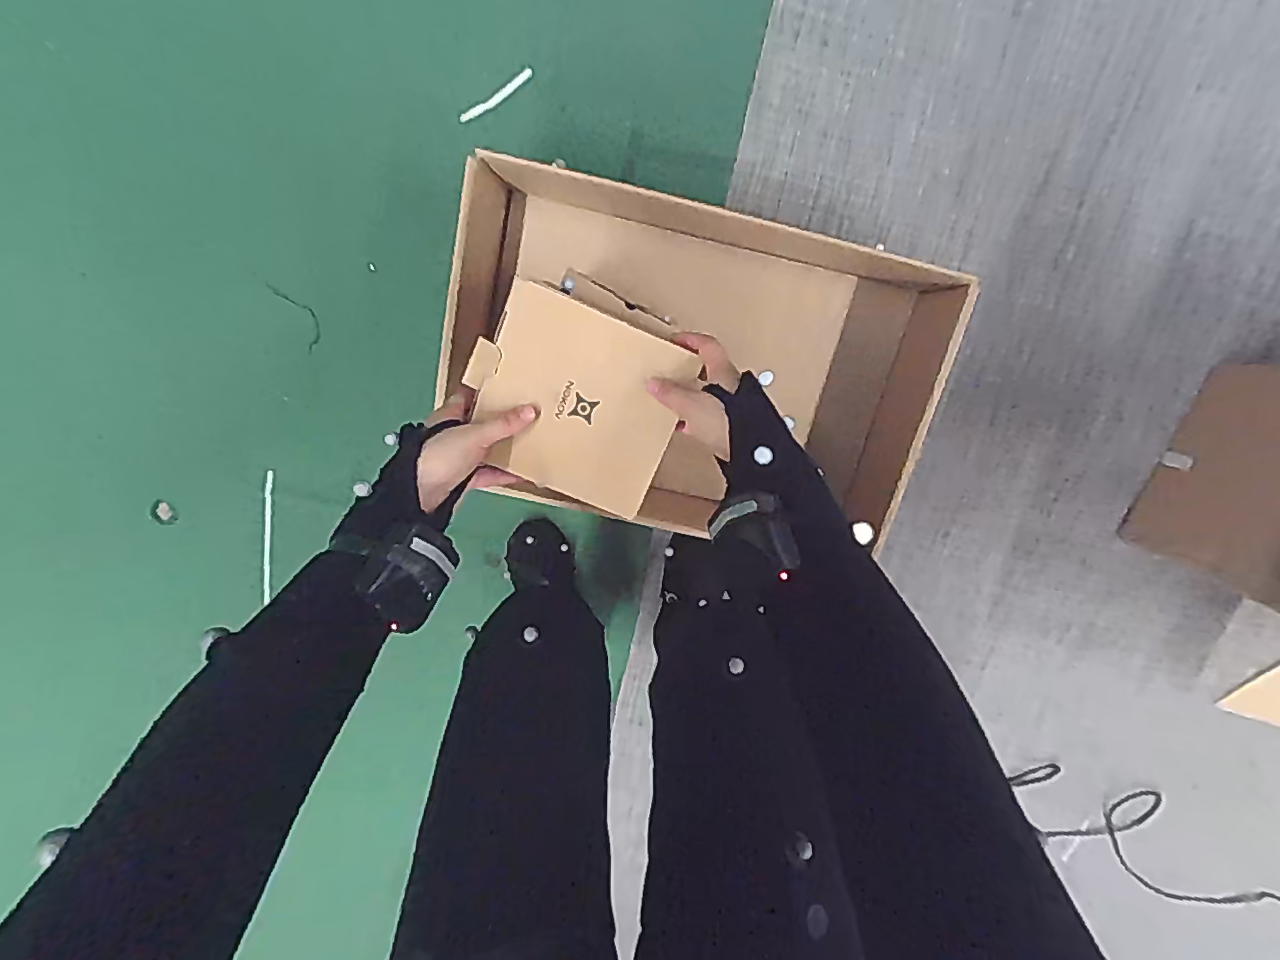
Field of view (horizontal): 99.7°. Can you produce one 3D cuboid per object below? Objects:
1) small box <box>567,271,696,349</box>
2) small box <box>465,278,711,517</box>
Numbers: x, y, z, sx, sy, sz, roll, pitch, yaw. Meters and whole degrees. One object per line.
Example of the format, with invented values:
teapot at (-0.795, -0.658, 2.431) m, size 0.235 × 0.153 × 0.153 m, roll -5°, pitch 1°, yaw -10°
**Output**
small box at (-0.046, -0.153, 0.725) m, size 0.168 × 0.176 × 0.179 m, roll 27°, pitch 104°, yaw -8°
small box at (-0.049, -0.091, 0.554) m, size 0.179 × 0.176 × 0.168 m, roll 22°, pitch 105°, yaw -7°
